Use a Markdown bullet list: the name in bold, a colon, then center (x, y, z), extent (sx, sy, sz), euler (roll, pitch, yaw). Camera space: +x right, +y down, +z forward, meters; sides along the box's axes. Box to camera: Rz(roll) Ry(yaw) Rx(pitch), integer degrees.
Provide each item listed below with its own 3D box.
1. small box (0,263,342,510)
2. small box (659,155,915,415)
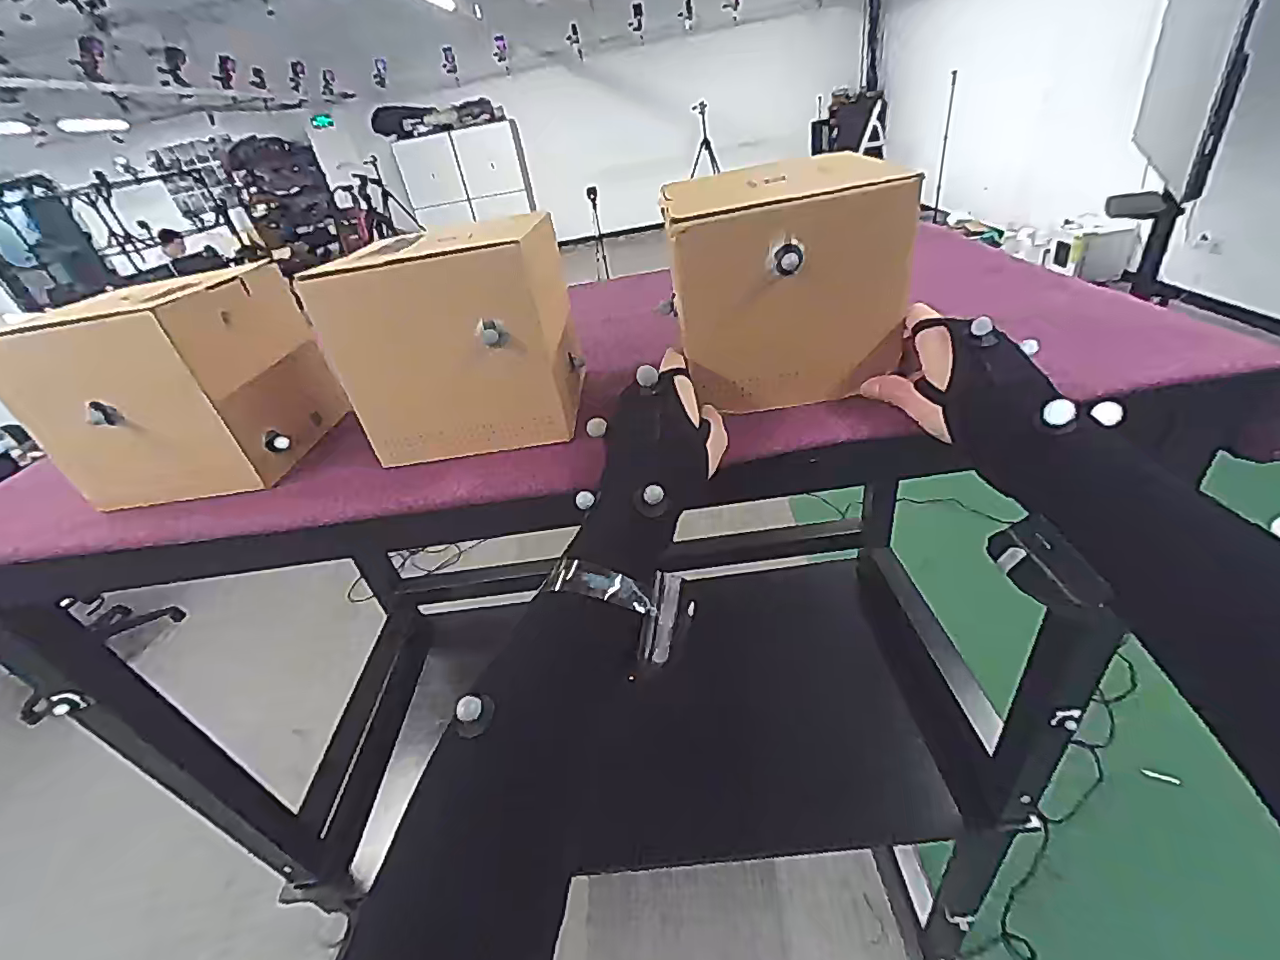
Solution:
- **small box**: center (-0.430, -0.090, 0.519), extent (0.179, 0.176, 0.168), euler (-8, 33, 6)
- **small box**: center (0.116, -0.170, 0.479), extent (0.179, 0.176, 0.168), euler (-7, 36, 6)
